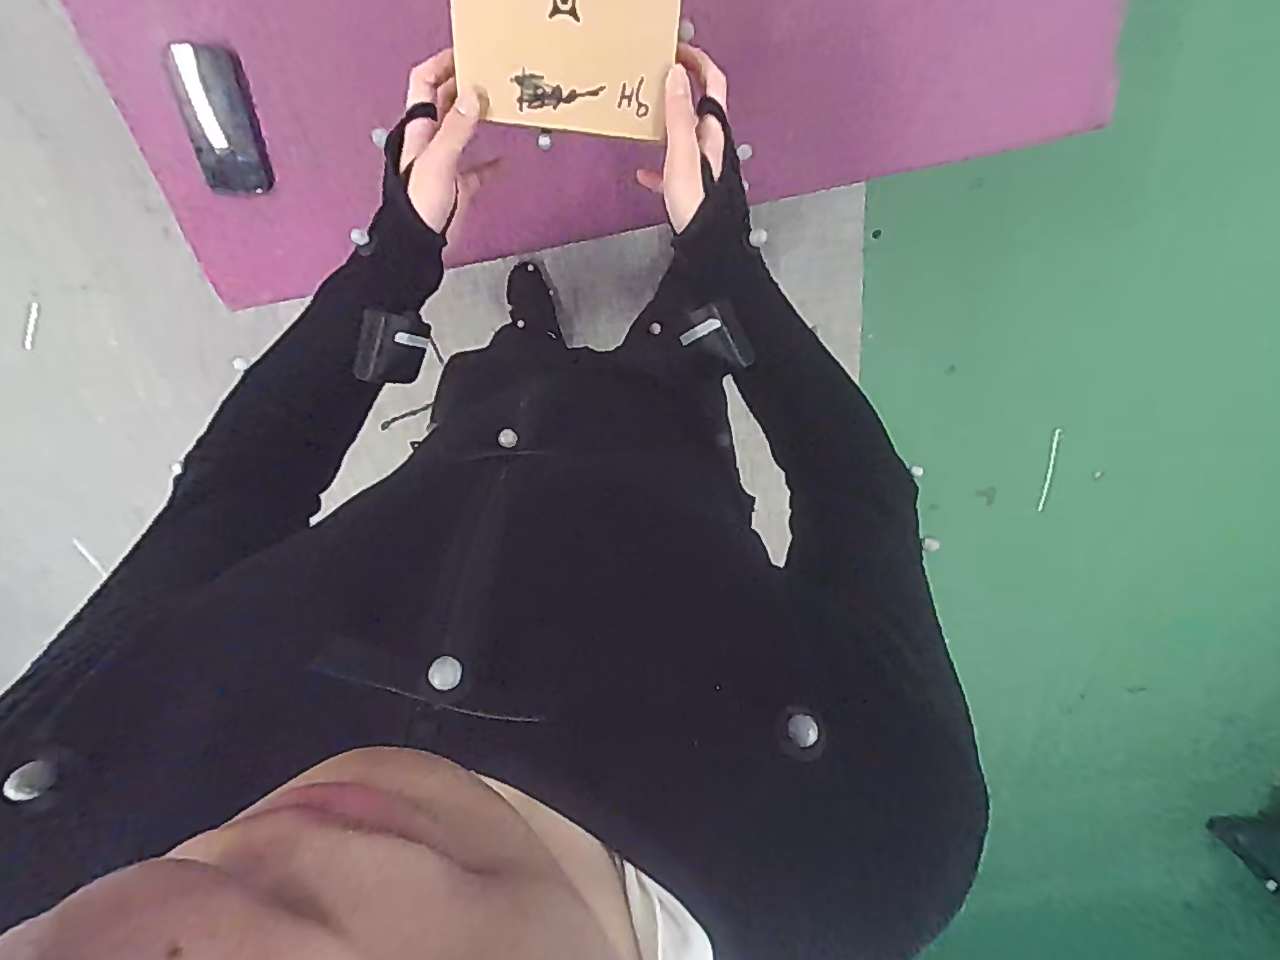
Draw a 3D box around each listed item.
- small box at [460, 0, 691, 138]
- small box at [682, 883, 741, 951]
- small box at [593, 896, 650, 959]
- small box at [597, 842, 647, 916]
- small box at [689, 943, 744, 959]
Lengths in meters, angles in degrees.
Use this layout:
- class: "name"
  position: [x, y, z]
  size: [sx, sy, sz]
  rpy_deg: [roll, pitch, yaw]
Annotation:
- class: "small box"
  position: [-0.044, -0.394, 0.443]
  size: [0.168, 0.176, 0.179]
  rpy_deg: [6, 122, -3]
- class: "small box"
  position: [0.233, 1.461, 1.767]
  size: [0.168, 0.176, 0.179]
  rpy_deg: [-8, 117, 0]
- class: "small box"
  position: [-0.061, 1.489, 1.762]
  size: [0.168, 0.176, 0.179]
  rpy_deg: [-8, 117, 1]
- class: "small box"
  position: [-0.063, 1.419, 1.911]
  size: [0.168, 0.176, 0.179]
  rpy_deg: [-4, 117, -1]
- class: "small box"
  position: [0.243, 1.534, 1.621]
  size: [0.168, 0.176, 0.179]
  rpy_deg: [-8, 118, -1]
